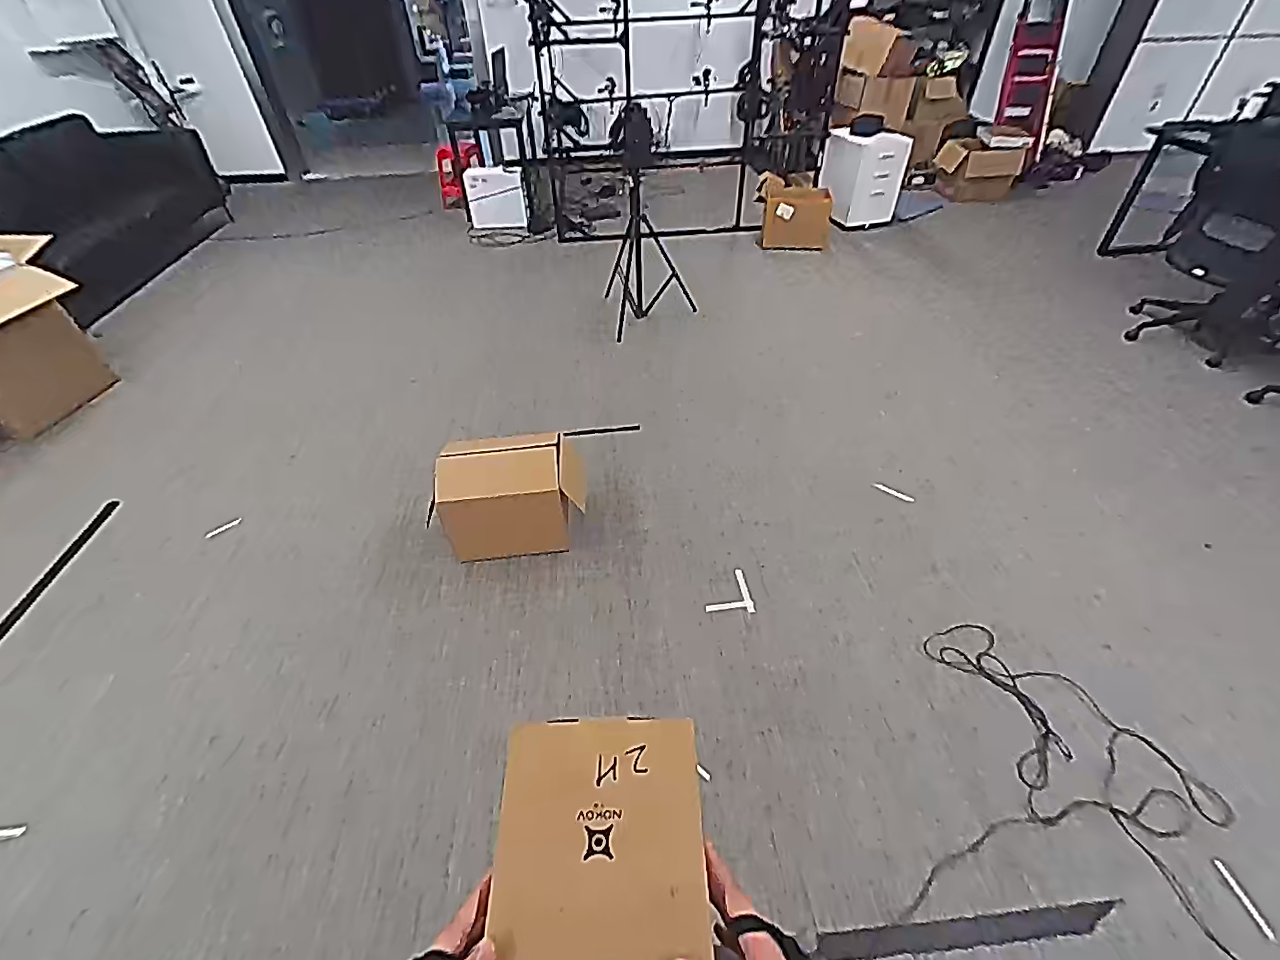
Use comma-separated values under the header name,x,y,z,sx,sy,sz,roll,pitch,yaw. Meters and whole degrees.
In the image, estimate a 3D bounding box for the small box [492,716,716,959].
name,x,y,z,sx,sy,sz,roll,pitch,yaw
small box,-0.024,0.339,0.498,0.168,0.176,0.179,-1,45,0
